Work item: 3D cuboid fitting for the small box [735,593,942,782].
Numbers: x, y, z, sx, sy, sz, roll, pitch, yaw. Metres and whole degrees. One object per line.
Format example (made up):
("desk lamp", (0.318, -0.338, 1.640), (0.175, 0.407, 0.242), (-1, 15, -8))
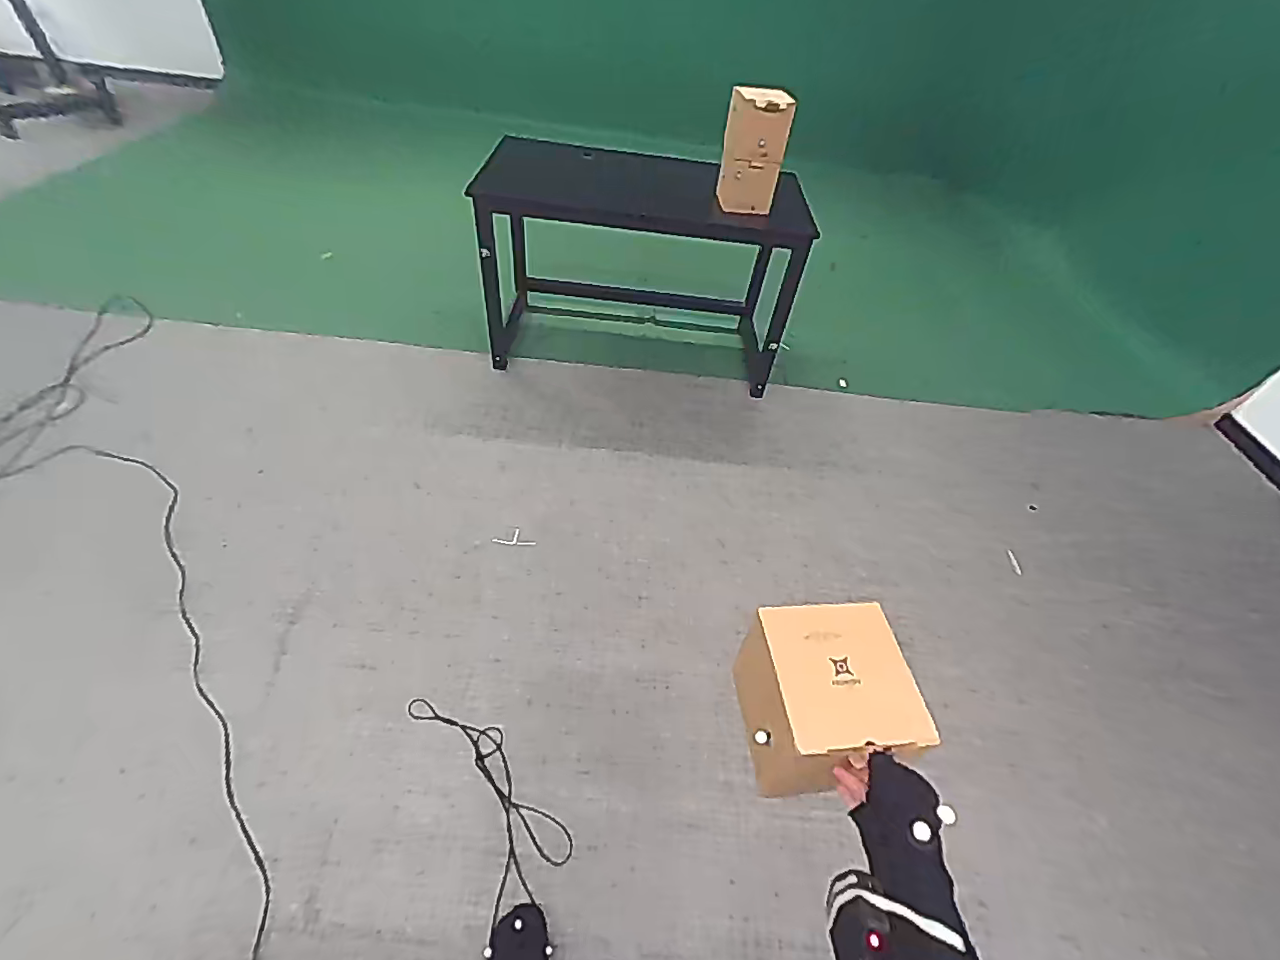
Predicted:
("small box", (0.228, 0.263, 0.679), (0.168, 0.176, 0.179), (-1, 46, -8))

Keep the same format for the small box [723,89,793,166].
("small box", (0.380, -1.163, 1.783), (0.168, 0.176, 0.179), (0, 47, -7))
